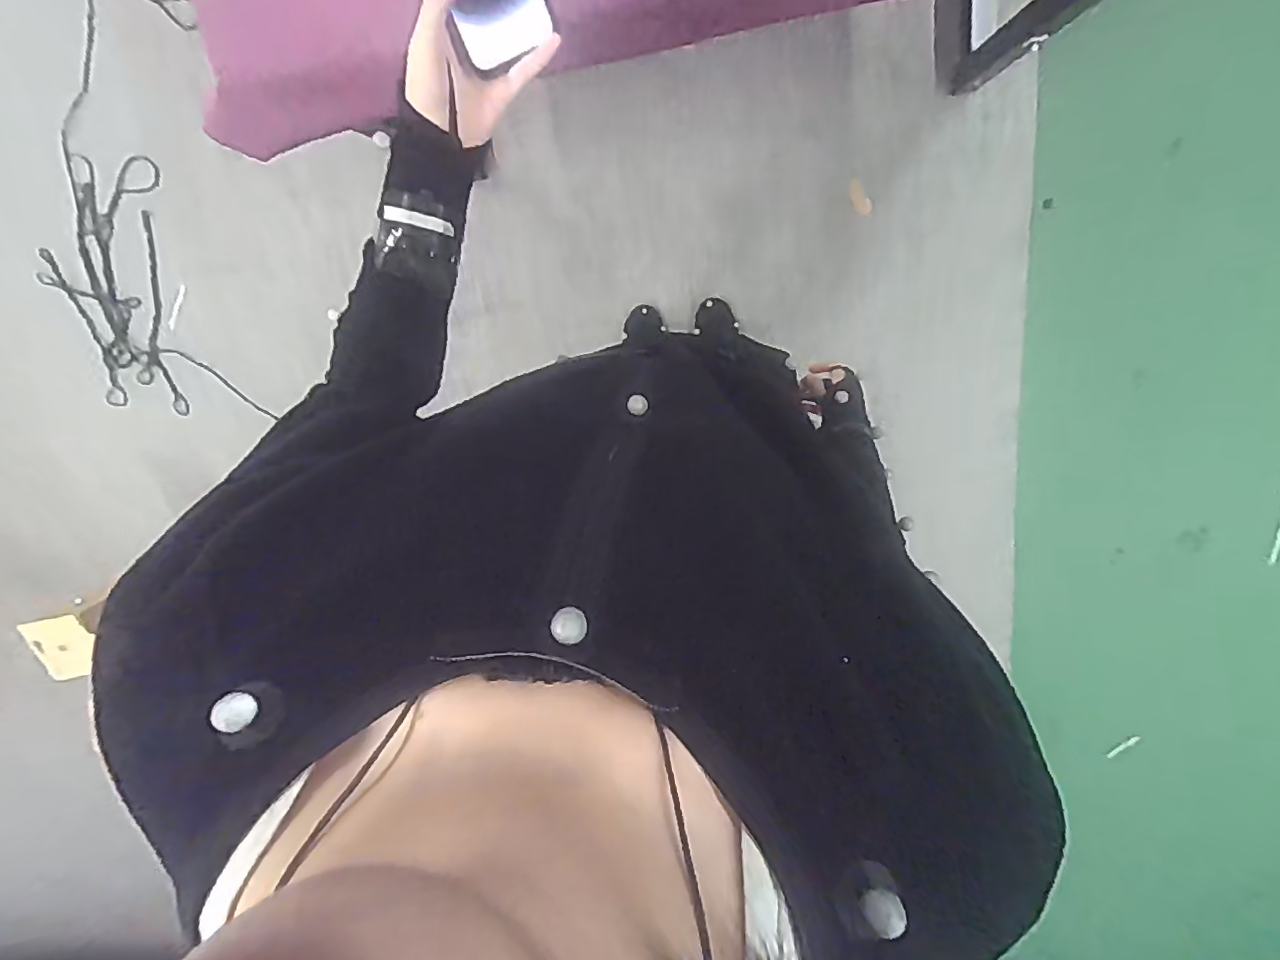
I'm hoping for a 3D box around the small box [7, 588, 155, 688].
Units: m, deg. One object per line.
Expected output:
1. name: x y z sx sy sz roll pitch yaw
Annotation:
1. small box: -1.386 0.390 1.362 0.179 0.176 0.168 -12 108 7
